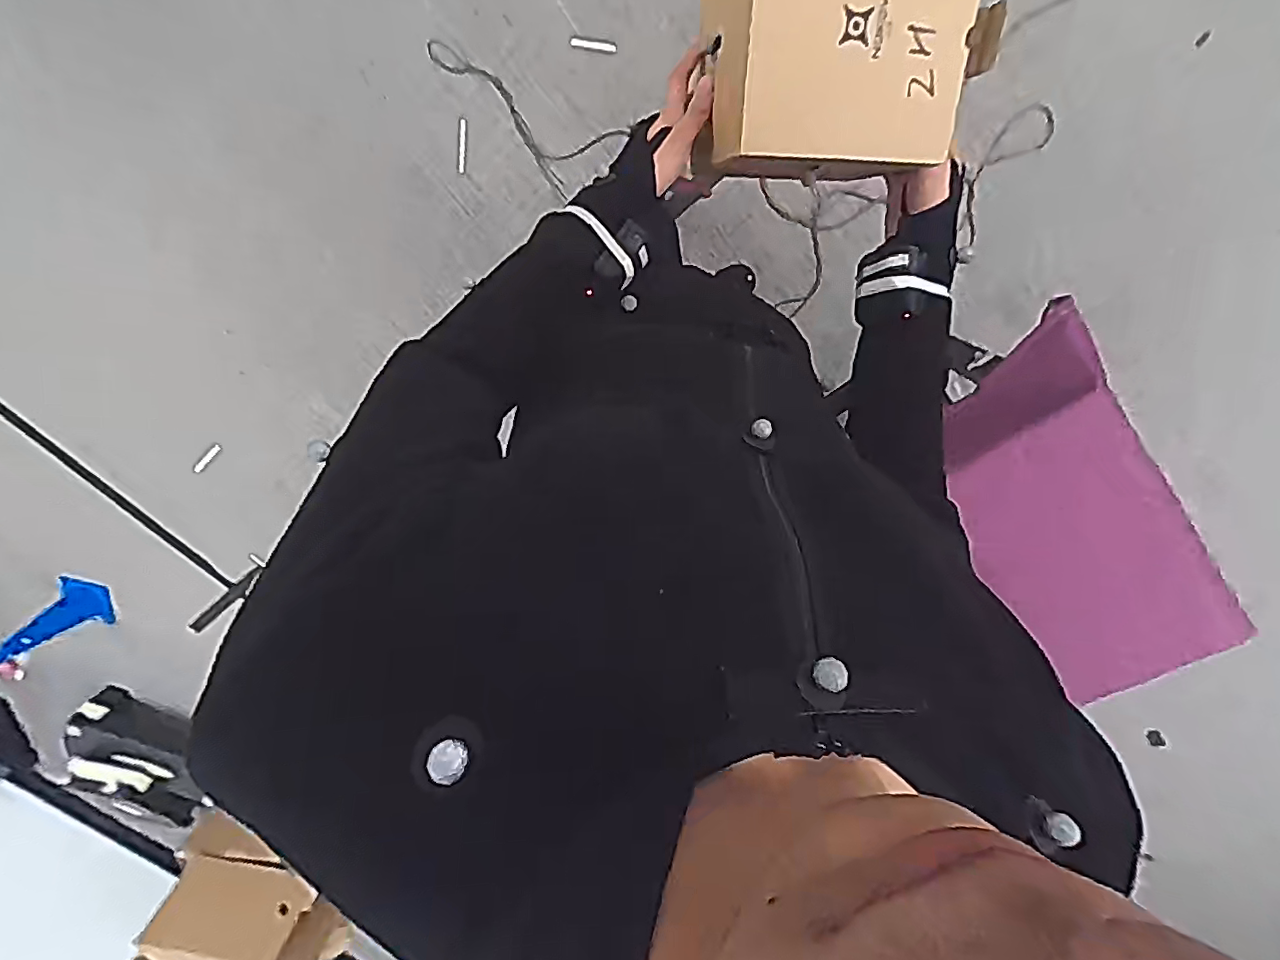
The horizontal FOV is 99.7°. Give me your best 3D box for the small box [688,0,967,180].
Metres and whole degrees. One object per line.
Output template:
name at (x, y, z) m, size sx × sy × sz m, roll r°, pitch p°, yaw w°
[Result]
small box at (0.143, -0.361, 0.466) m, size 0.179 × 0.176 × 0.168 m, roll -3°, pitch 114°, yaw -8°
